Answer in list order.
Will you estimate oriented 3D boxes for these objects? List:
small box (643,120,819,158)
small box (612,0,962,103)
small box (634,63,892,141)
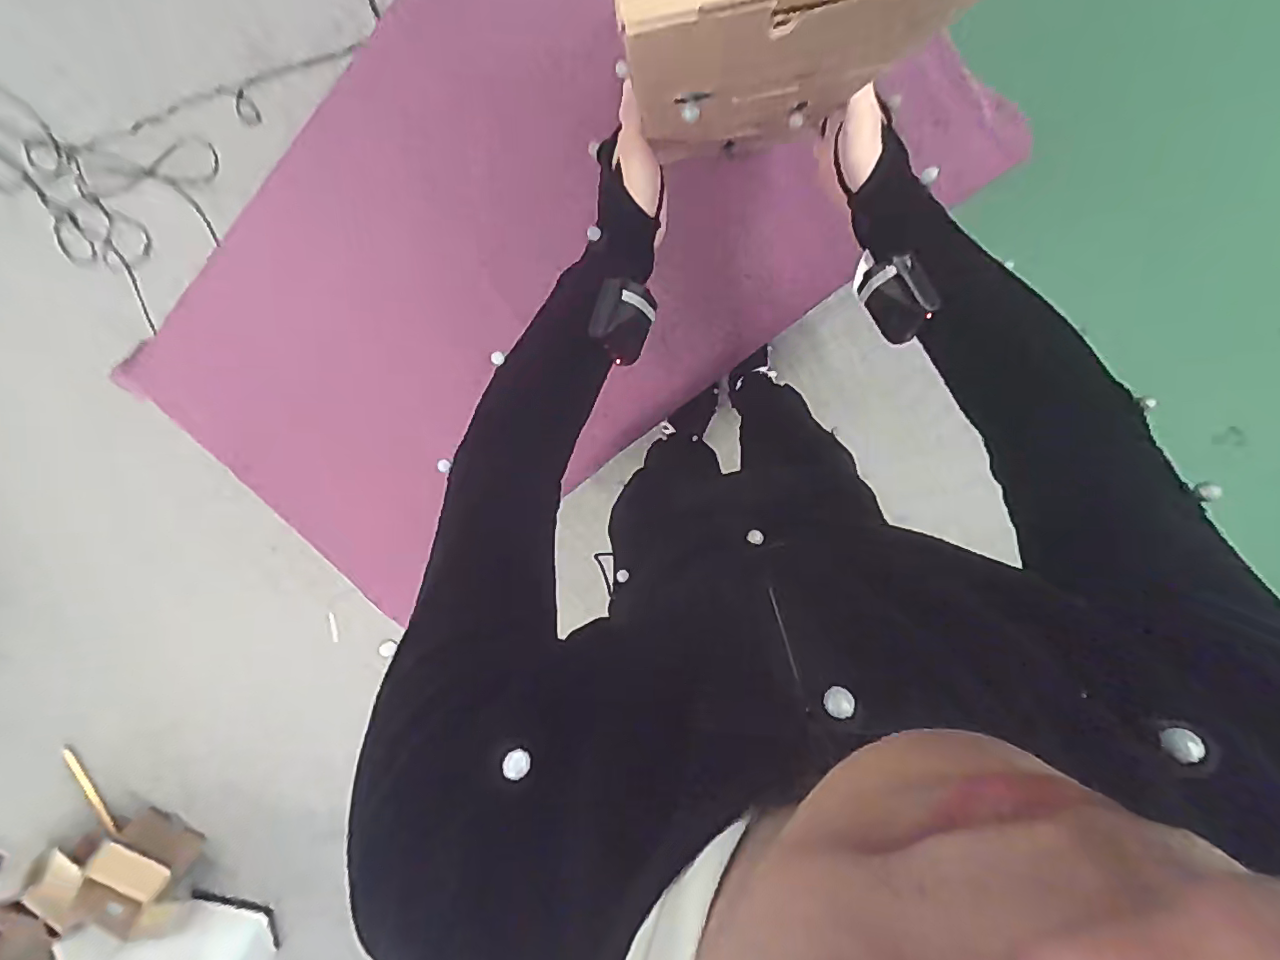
[{"bbox_3d":[0.082,-0.430,0.536,0.168,0.176,0.179,-4,115,5],"label":"small box"},{"bbox_3d":[0.065,-0.291,0.240,0.168,0.176,0.179,-6,114,5],"label":"small box"},{"bbox_3d":[0.075,-0.359,0.389,0.168,0.176,0.179,-5,114,5],"label":"small box"}]
